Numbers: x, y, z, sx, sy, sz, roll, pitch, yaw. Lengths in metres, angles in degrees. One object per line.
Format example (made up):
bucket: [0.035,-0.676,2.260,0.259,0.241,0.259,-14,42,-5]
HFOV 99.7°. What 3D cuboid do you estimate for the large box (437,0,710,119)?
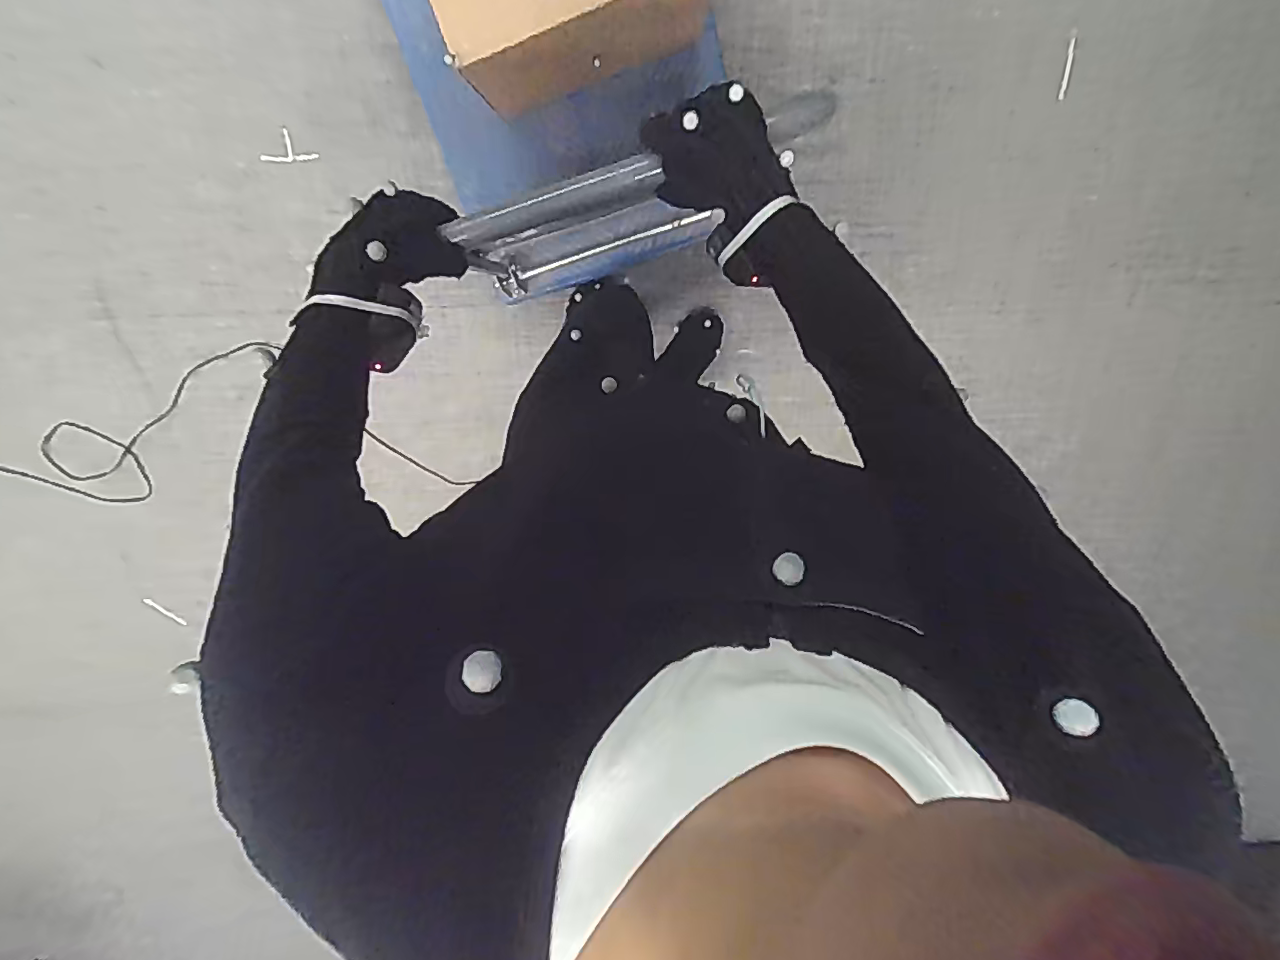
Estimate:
large box: [-0.121,-0.855,0.866,0.408,0.320,0.320,-18,110,9]
